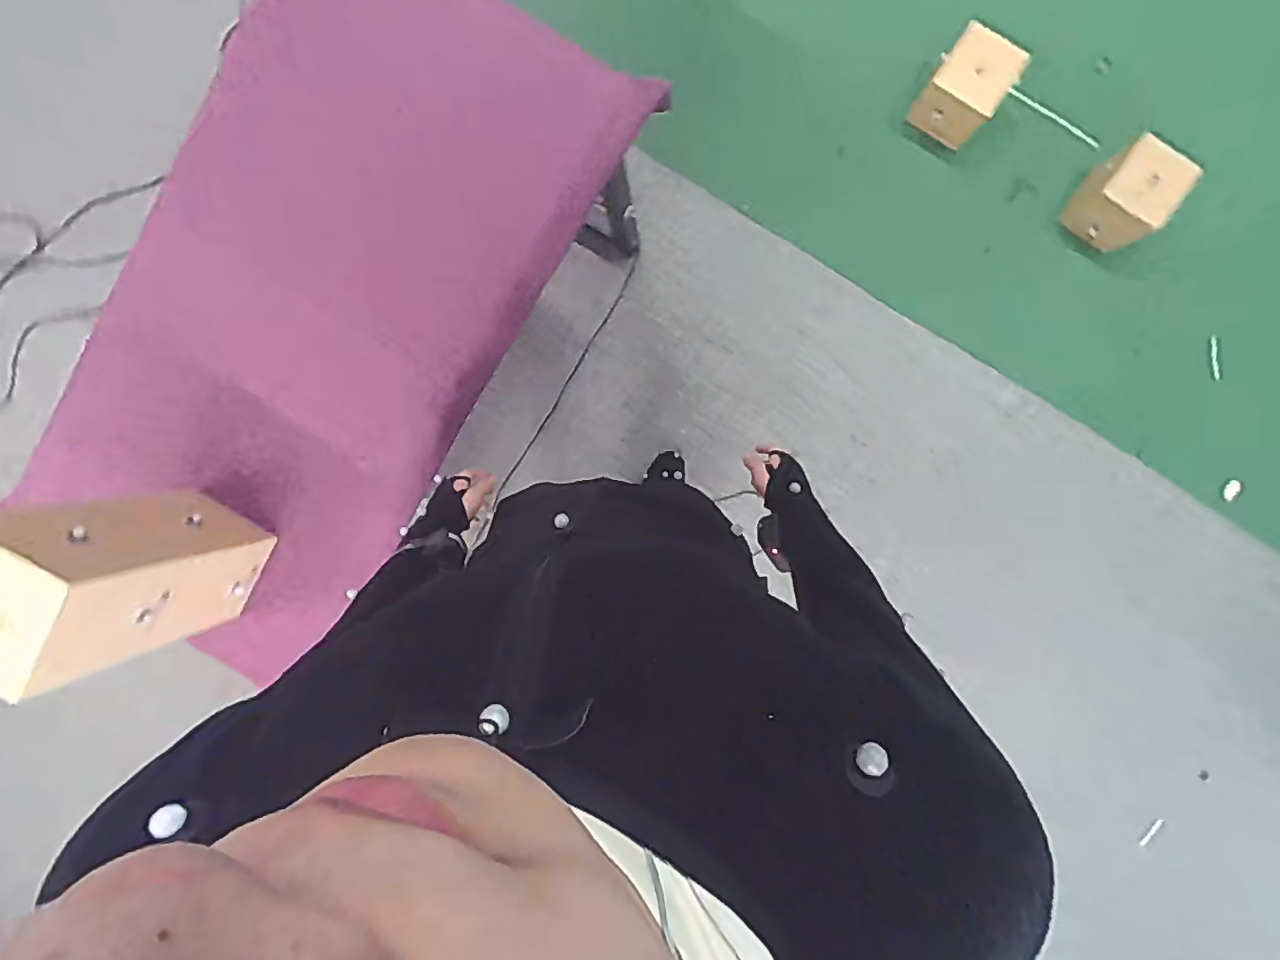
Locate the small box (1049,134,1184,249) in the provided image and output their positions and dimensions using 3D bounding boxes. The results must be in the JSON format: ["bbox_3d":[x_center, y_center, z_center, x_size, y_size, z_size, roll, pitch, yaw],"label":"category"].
[{"bbox_3d":[1.247,-0.754,1.431,0.168,0.176,0.179,33,95,0],"label":"small box"}]

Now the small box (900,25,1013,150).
[{"bbox_3d":[0.826,-1.029,1.437,0.168,0.176,0.179,32,94,1],"label":"small box"}]

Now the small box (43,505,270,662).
[{"bbox_3d":[-0.748,0.150,0.856,0.179,0.176,0.168,29,94,0],"label":"small box"}]
